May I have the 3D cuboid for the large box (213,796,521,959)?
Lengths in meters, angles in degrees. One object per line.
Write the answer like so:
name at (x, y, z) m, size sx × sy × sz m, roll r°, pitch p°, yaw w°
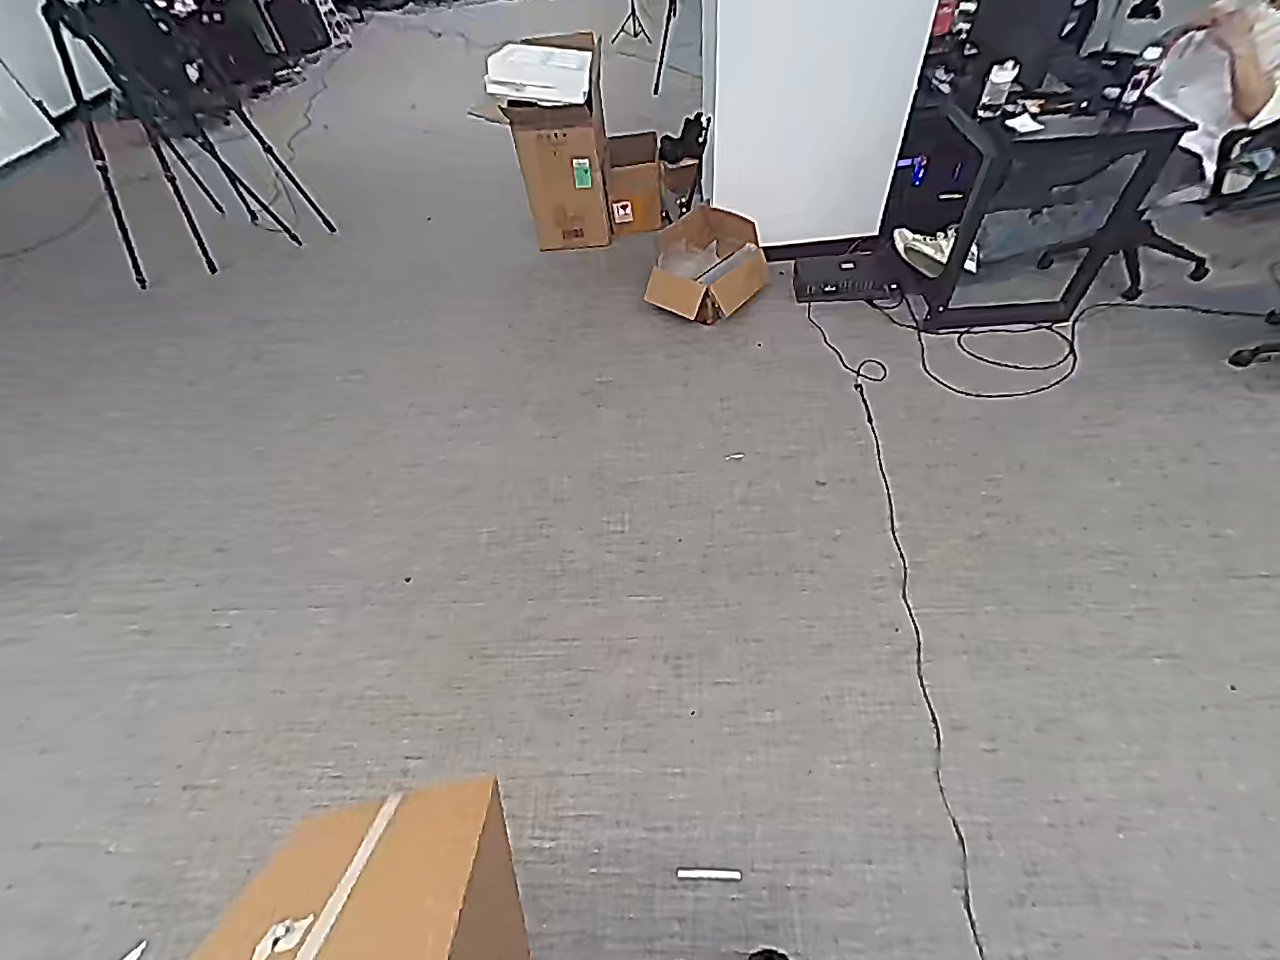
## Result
large box at (-0.337, 0.691, 0.683) m, size 0.320 × 0.408 × 0.320 m, roll -11°, pitch 91°, yaw -7°
